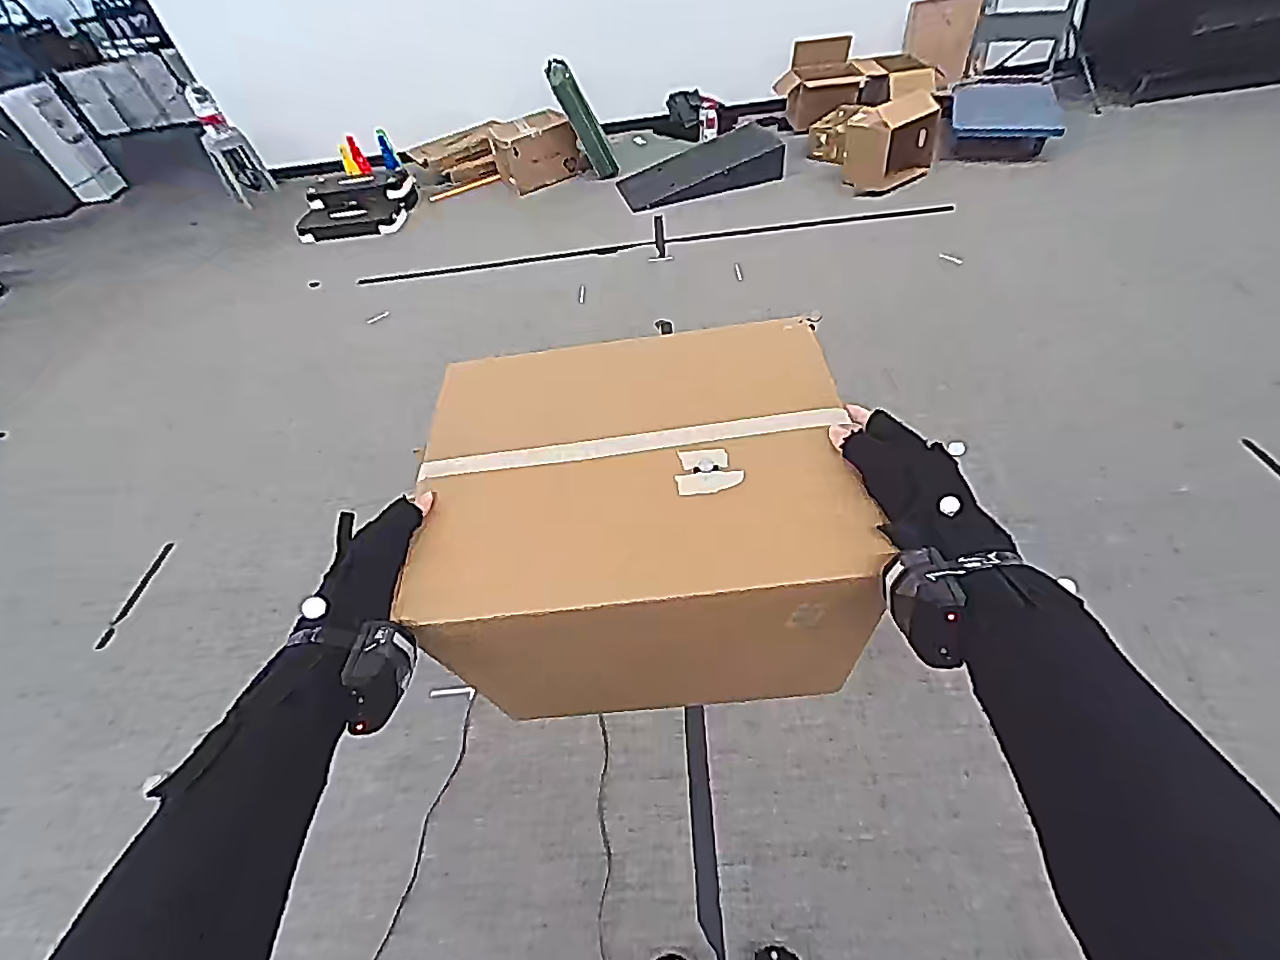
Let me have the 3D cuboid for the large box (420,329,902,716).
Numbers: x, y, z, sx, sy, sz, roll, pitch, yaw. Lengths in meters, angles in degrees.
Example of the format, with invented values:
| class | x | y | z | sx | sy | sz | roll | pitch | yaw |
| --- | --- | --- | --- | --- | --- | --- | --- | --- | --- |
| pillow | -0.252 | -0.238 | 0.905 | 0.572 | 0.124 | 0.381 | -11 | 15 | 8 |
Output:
| class | x | y | z | sx | sy | sz | roll | pitch | yaw |
| --- | --- | --- | --- | --- | --- | --- | --- | --- | --- |
| large box | 0.018 | 0.064 | 0.642 | 0.408 | 0.320 | 0.320 | -7 | 53 | 3 |
